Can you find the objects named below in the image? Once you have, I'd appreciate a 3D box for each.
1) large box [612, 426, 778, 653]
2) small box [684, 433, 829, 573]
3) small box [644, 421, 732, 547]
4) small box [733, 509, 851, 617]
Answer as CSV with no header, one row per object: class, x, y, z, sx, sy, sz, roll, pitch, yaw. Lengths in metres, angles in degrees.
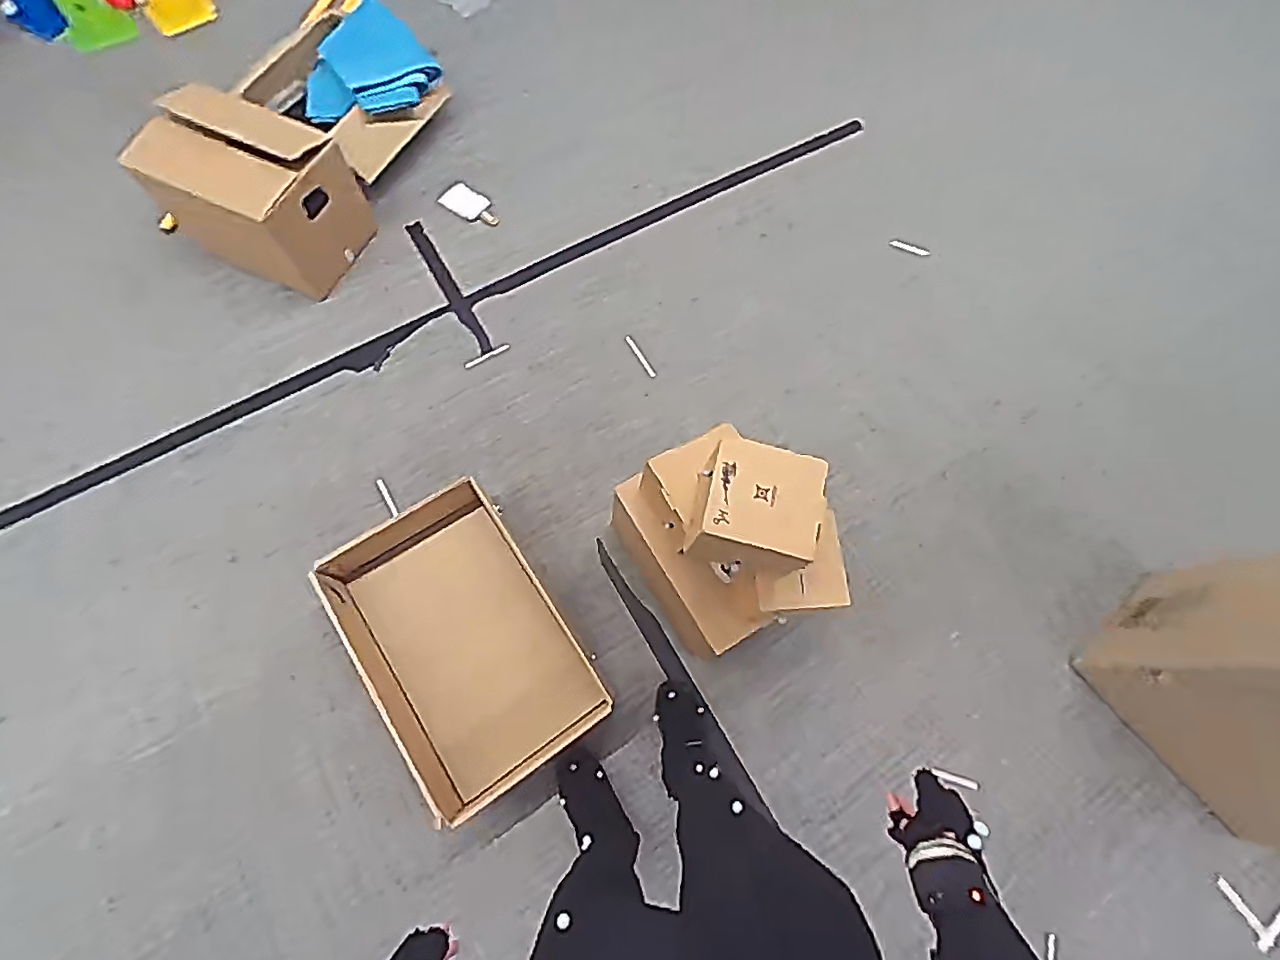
large box,0.168,0.152,1.283,0.320,0.320,0.408,-31,78,-12
small box,0.184,0.047,0.889,0.179,0.176,0.168,15,70,0
small box,0.118,0.017,1.068,0.179,0.176,0.168,-27,78,-13
small box,0.274,0.162,1.029,0.168,0.176,0.179,-2,72,-5
